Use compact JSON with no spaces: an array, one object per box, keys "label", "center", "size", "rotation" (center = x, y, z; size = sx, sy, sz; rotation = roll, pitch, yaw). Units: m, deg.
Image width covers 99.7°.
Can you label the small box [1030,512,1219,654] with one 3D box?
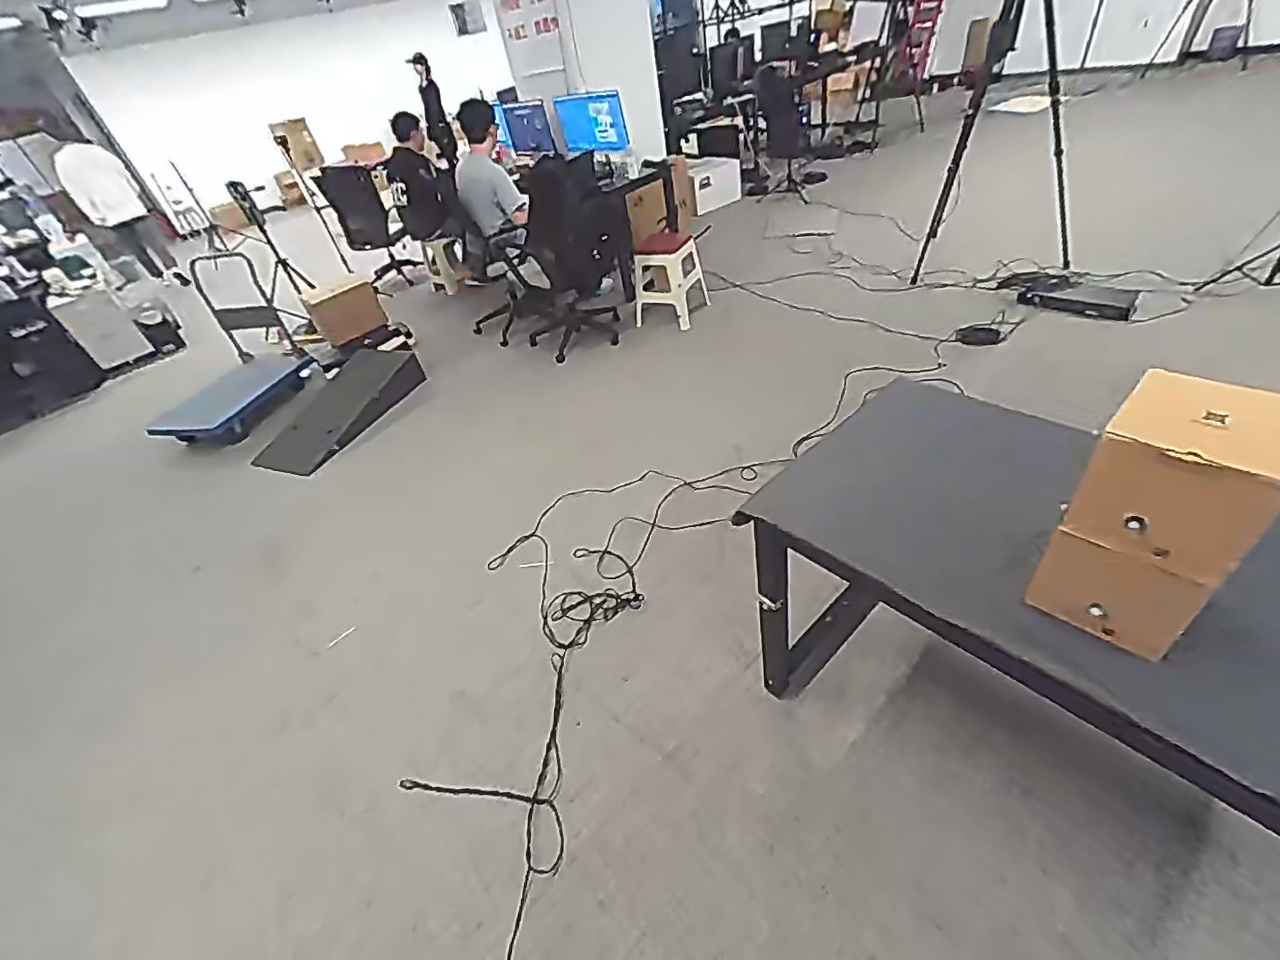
[{"label":"small box","center":[0.700,0.108,0.777],"size":[0.179,0.176,0.168],"rotation":[-36,44,-26]}]

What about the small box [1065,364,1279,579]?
[{"label":"small box","center":[0.673,-0.014,0.673],"size":[0.179,0.176,0.168],"rotation":[-37,45,-26]}]
